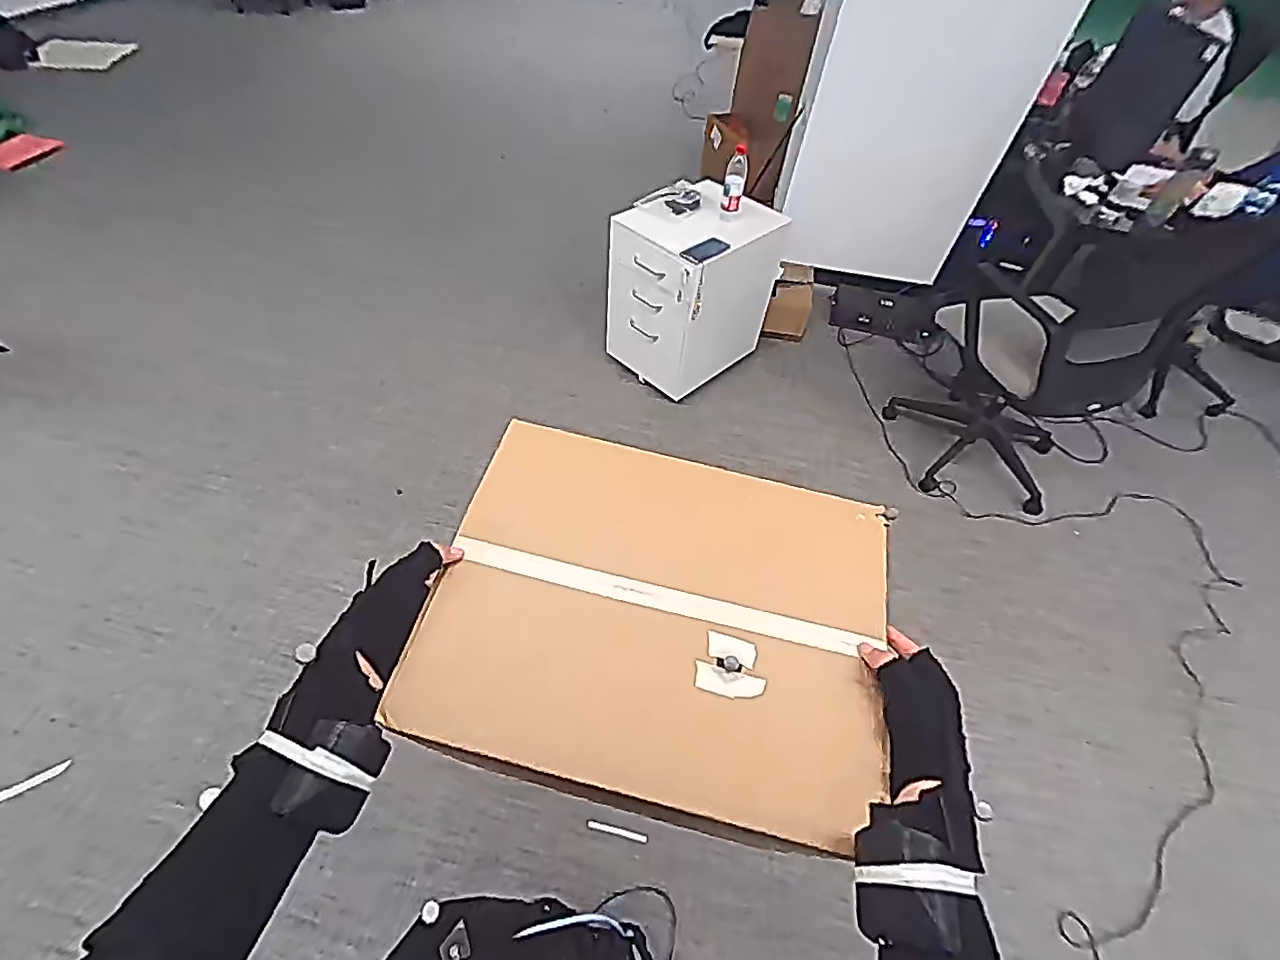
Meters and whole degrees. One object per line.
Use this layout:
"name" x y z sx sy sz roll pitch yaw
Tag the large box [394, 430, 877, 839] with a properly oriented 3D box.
"large box" 0.008 0.189 0.631 0.408 0.320 0.320 14 59 2
